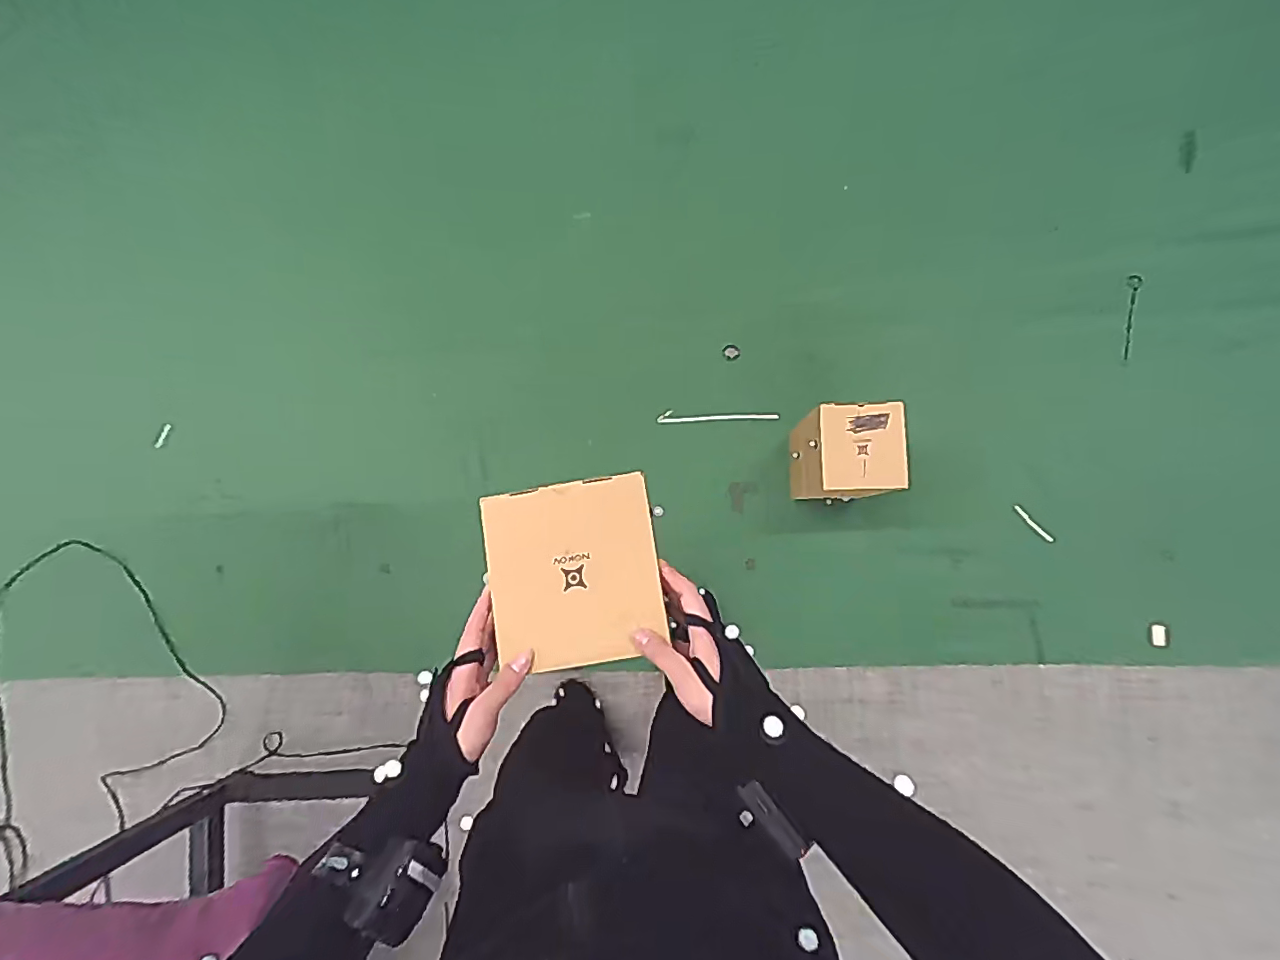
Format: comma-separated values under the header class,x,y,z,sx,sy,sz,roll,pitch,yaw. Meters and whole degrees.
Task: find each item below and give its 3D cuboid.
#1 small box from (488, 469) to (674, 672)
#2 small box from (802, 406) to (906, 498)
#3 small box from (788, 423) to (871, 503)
class,x,y,z,sx,sy,sz,roll,pitch,yaw
small box,-0.056,0.096,0.598,0.168,0.176,0.179,-9,81,-1
small box,0.448,-0.053,1.157,0.168,0.176,0.179,-1,85,5
small box,0.460,-0.037,1.320,0.168,0.176,0.179,0,85,5
